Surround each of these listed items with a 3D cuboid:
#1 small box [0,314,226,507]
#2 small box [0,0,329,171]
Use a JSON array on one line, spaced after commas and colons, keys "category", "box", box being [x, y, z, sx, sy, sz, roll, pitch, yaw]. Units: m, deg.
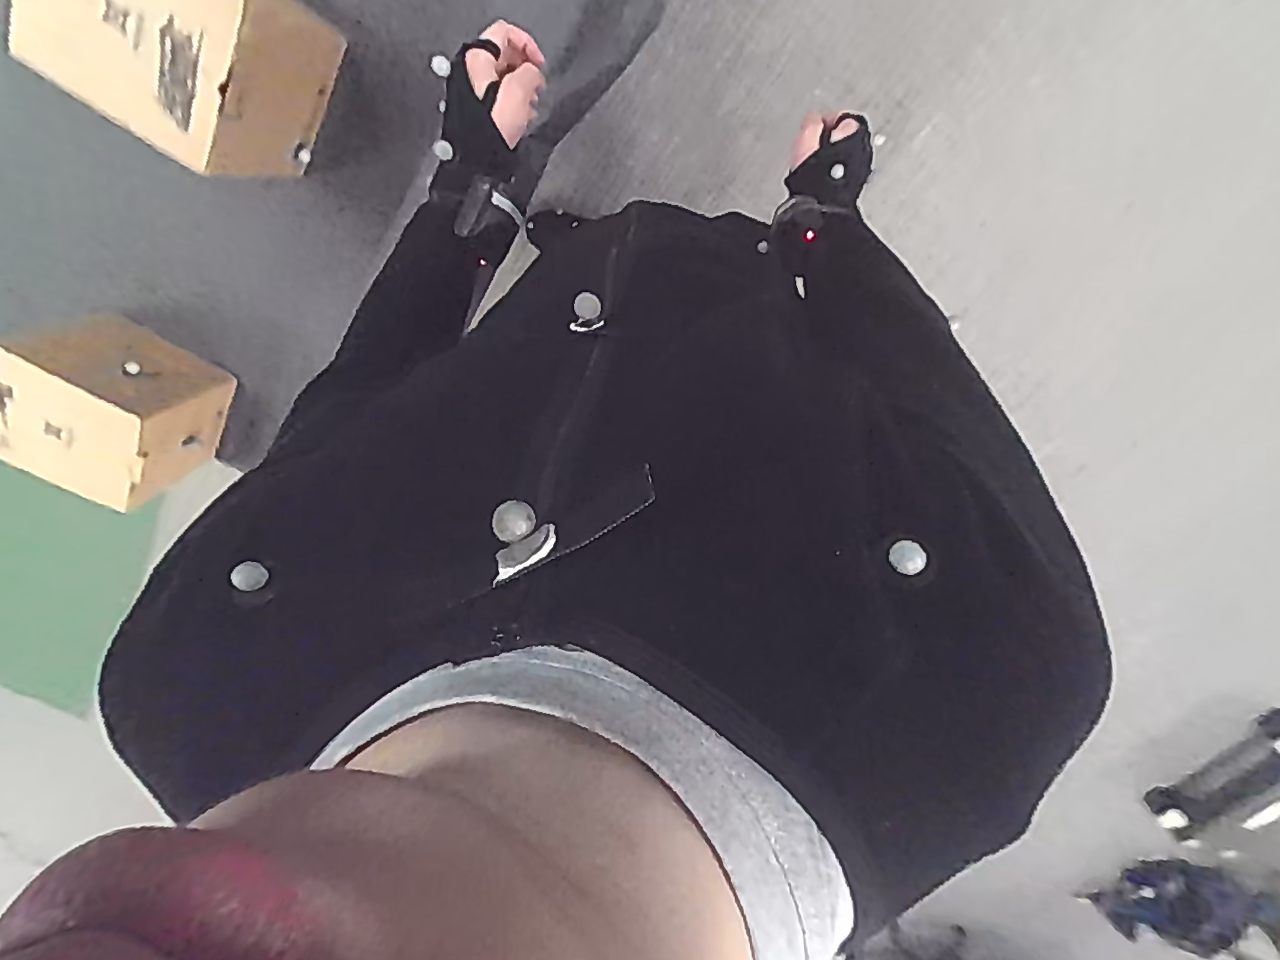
[{"category": "small box", "box": [-0.715, -0.101, 0.733, 0.179, 0.176, 0.168, 30, 115, -15]}, {"category": "small box", "box": [-0.449, -0.438, 0.531, 0.179, 0.176, 0.168, 32, 116, -15]}]
